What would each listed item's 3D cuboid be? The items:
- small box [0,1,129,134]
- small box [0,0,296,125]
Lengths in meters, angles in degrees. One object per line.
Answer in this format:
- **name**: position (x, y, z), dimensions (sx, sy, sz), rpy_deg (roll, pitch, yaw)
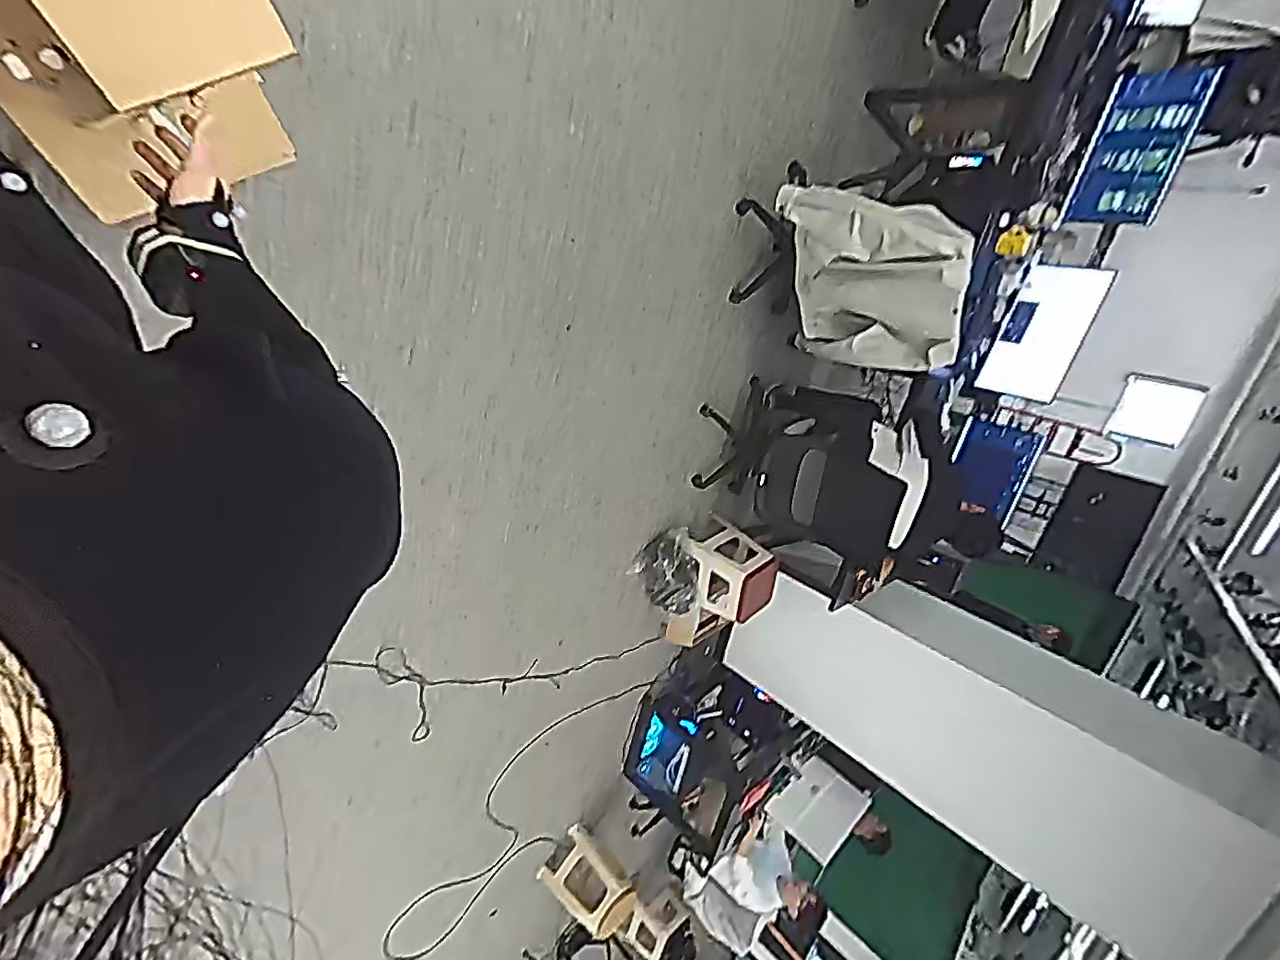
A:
- **small box**: position (-0.690, -0.562, 0.683), dimensions (0.168, 0.176, 0.179), rpy_deg (-43, 139, -23)
- **small box**: position (-0.460, -0.442, 0.481), dimensions (0.168, 0.176, 0.179), rpy_deg (-44, 139, -24)
